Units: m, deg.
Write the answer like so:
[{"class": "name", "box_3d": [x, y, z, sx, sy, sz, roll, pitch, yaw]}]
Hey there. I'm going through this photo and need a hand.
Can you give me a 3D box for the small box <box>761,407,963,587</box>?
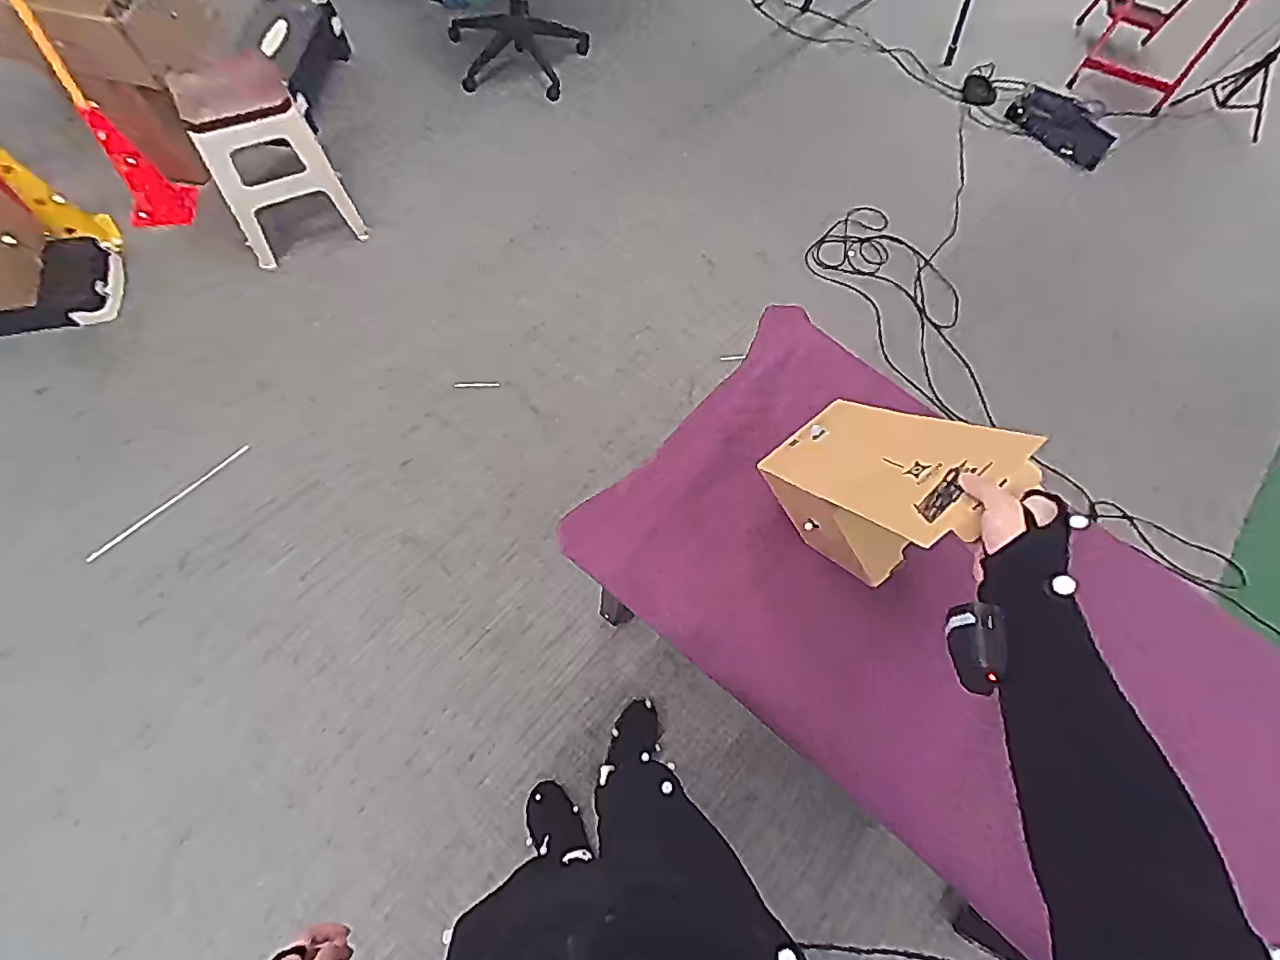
[{"class": "small box", "box_3d": [0.309, 0.014, 0.776, 0.168, 0.176, 0.179, -39, 111, -4]}]
